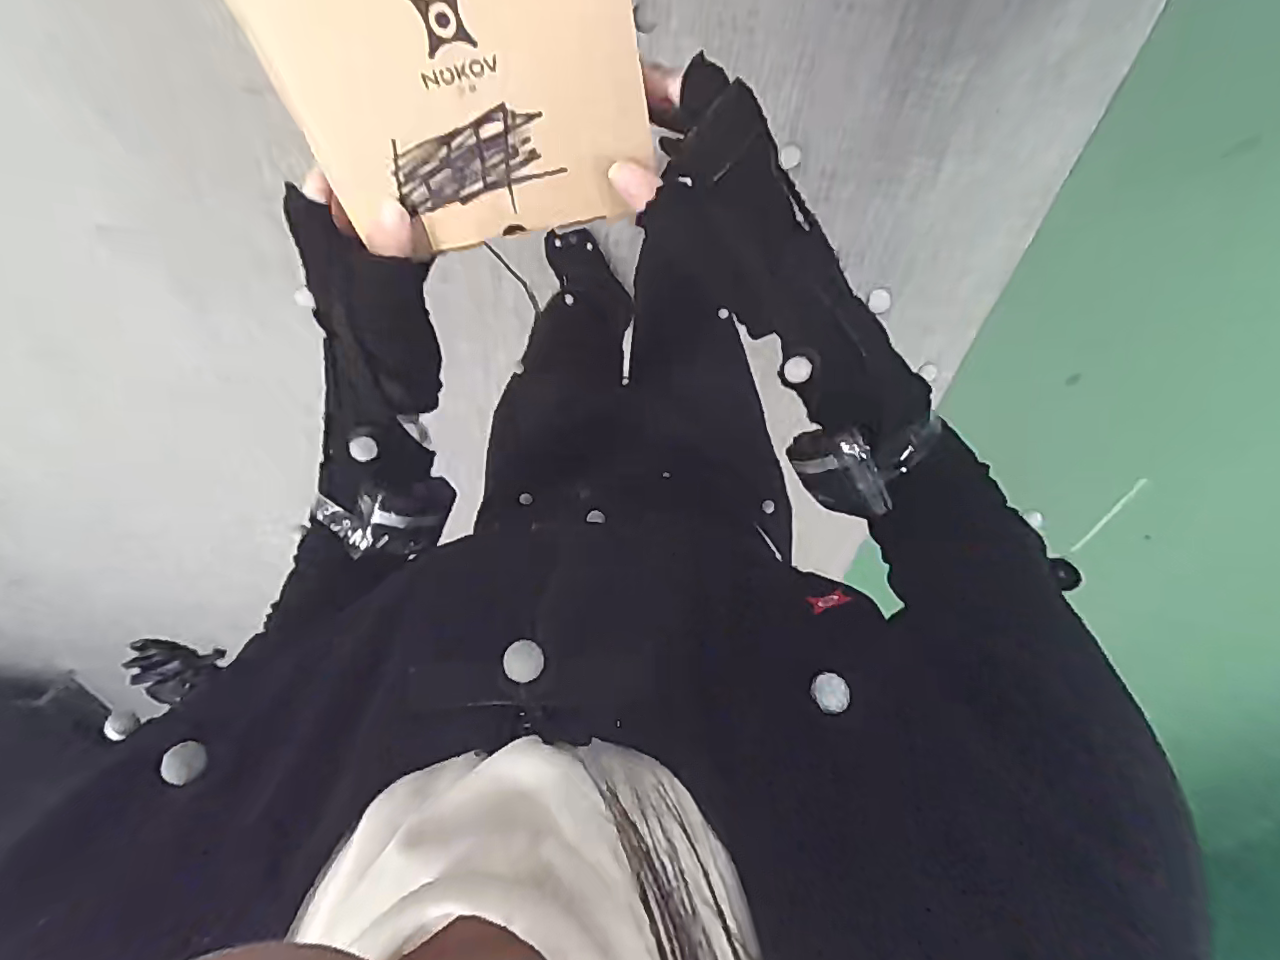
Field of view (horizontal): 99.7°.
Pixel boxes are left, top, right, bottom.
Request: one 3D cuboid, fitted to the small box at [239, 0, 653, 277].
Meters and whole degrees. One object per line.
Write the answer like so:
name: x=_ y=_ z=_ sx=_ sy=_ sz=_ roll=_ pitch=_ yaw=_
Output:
small box: x=-0.088 y=-0.248 z=0.309 sx=0.168 sy=0.176 sz=0.179 roll=-9 pitch=136 yaw=5
